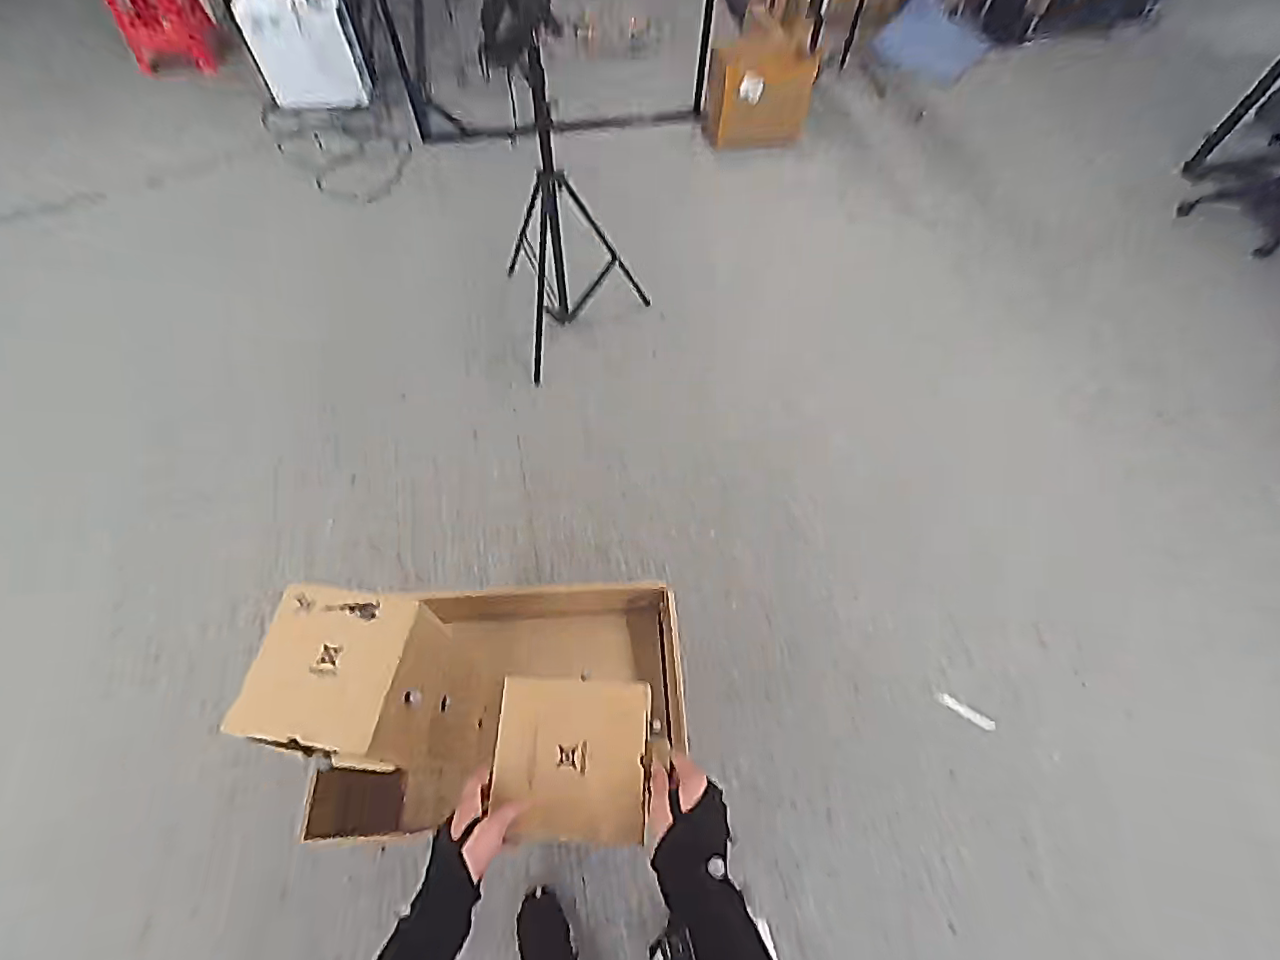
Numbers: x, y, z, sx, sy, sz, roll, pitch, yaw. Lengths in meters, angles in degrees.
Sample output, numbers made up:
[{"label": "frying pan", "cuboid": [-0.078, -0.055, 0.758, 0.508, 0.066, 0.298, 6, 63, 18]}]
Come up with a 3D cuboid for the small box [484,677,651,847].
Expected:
[{"label": "small box", "cuboid": [-0.078, 0.346, 0.686, 0.179, 0.176, 0.168, 2, 66, 2]}]

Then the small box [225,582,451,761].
[{"label": "small box", "cuboid": [-0.360, 0.251, 0.690, 0.168, 0.176, 0.179, 8, 60, 2]}]
